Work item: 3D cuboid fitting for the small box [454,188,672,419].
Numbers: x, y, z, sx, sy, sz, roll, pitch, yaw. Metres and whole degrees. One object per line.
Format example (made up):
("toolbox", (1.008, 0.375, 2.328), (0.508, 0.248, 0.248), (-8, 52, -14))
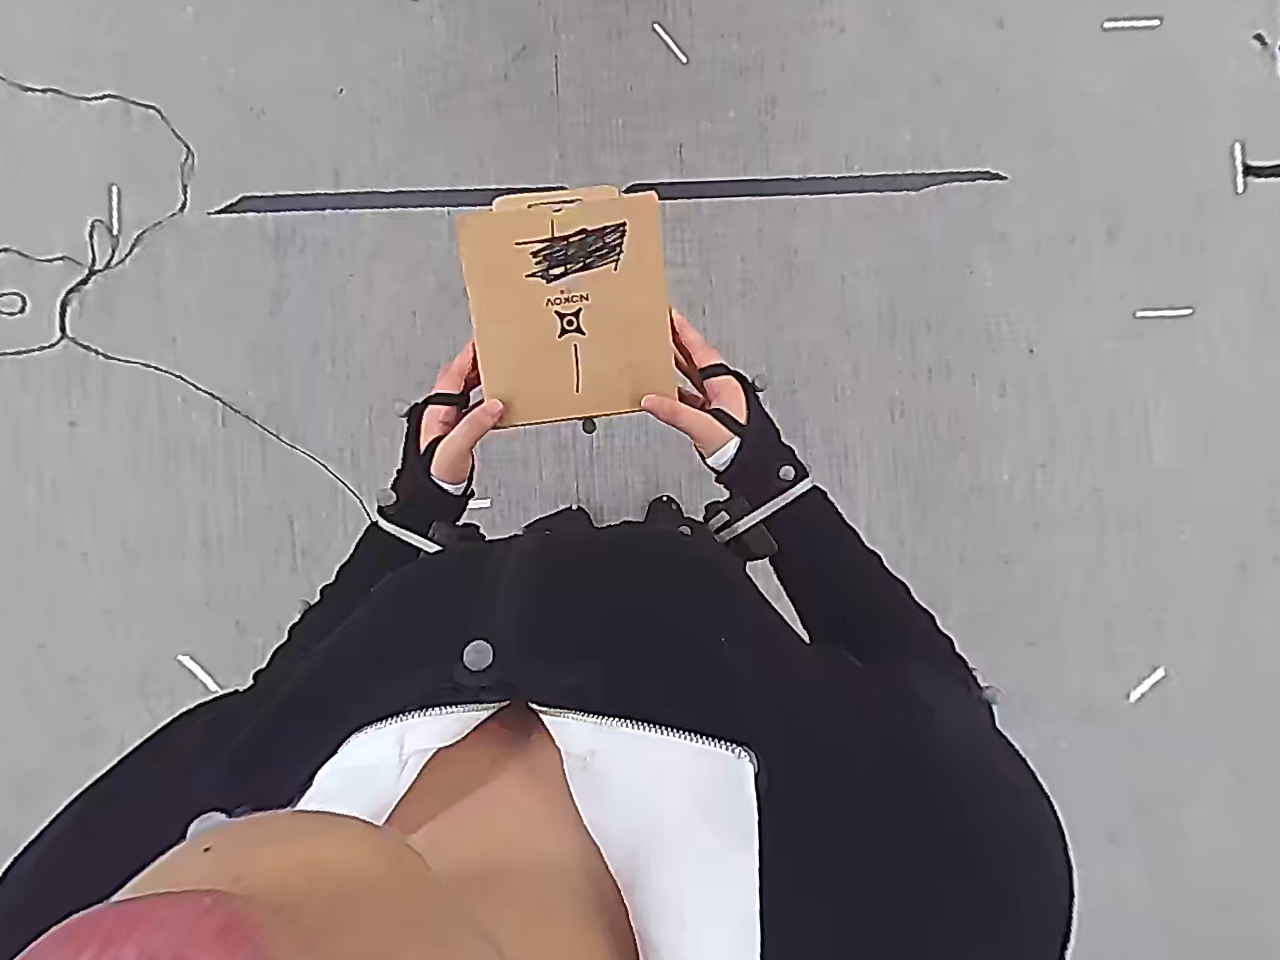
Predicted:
("small box", (-0.064, -0.154, 0.530), (0.168, 0.176, 0.179), (-7, 97, 0))
